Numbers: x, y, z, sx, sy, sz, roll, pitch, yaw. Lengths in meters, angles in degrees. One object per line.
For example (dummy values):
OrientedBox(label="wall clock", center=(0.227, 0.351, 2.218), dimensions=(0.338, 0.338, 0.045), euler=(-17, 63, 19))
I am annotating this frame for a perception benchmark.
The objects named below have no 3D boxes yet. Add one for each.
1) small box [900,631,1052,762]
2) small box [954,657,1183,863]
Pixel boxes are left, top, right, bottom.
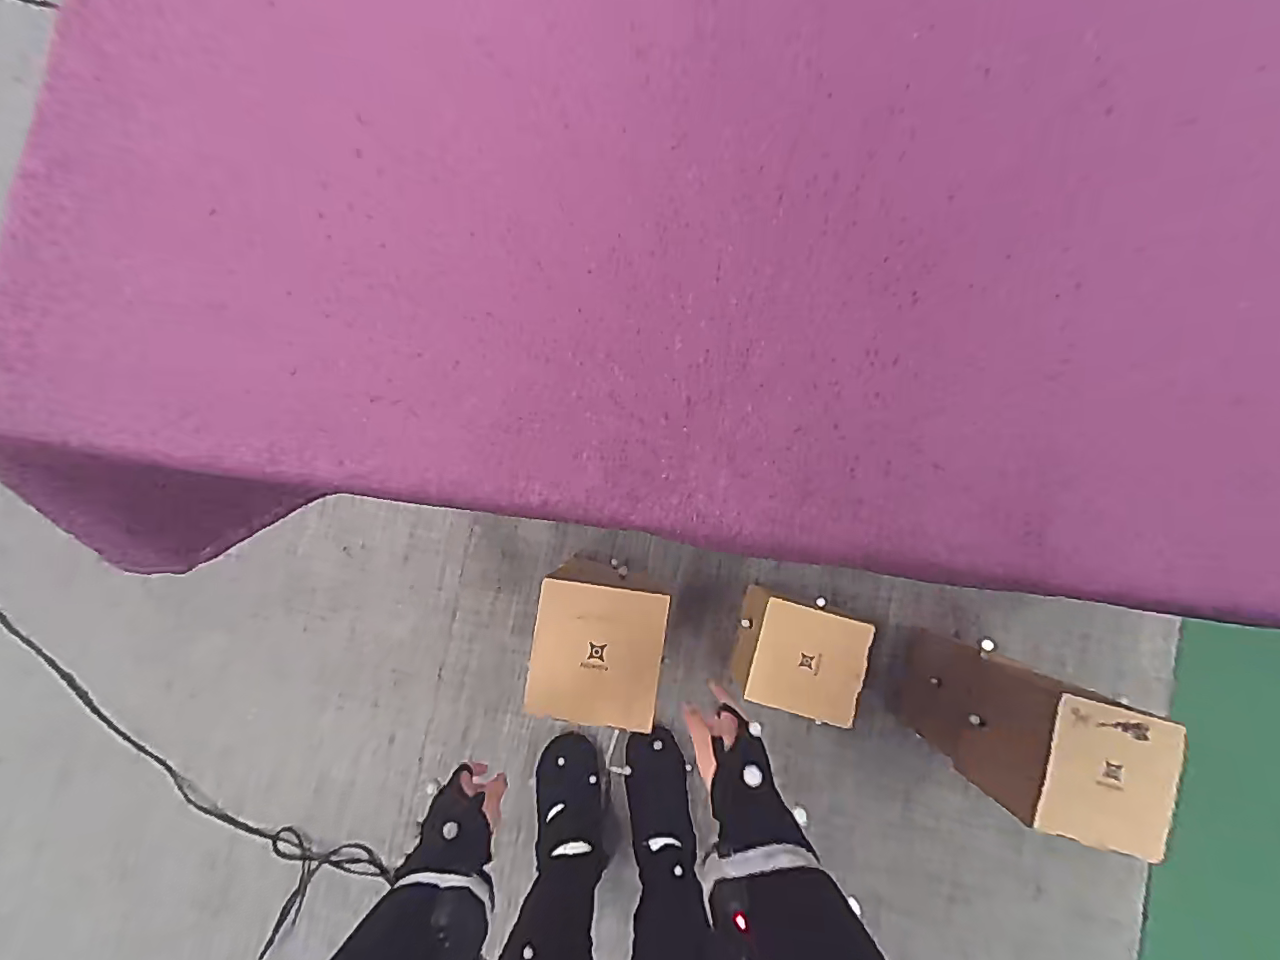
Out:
OrientedBox(label="small box", center=(0.572, 0.379, 0.918), dimensions=(0.168, 0.176, 0.179), euler=(20, 85, 1))
OrientedBox(label="small box", center=(0.575, 0.373, 0.751), dimensions=(0.168, 0.176, 0.179), euler=(16, 87, -1))
